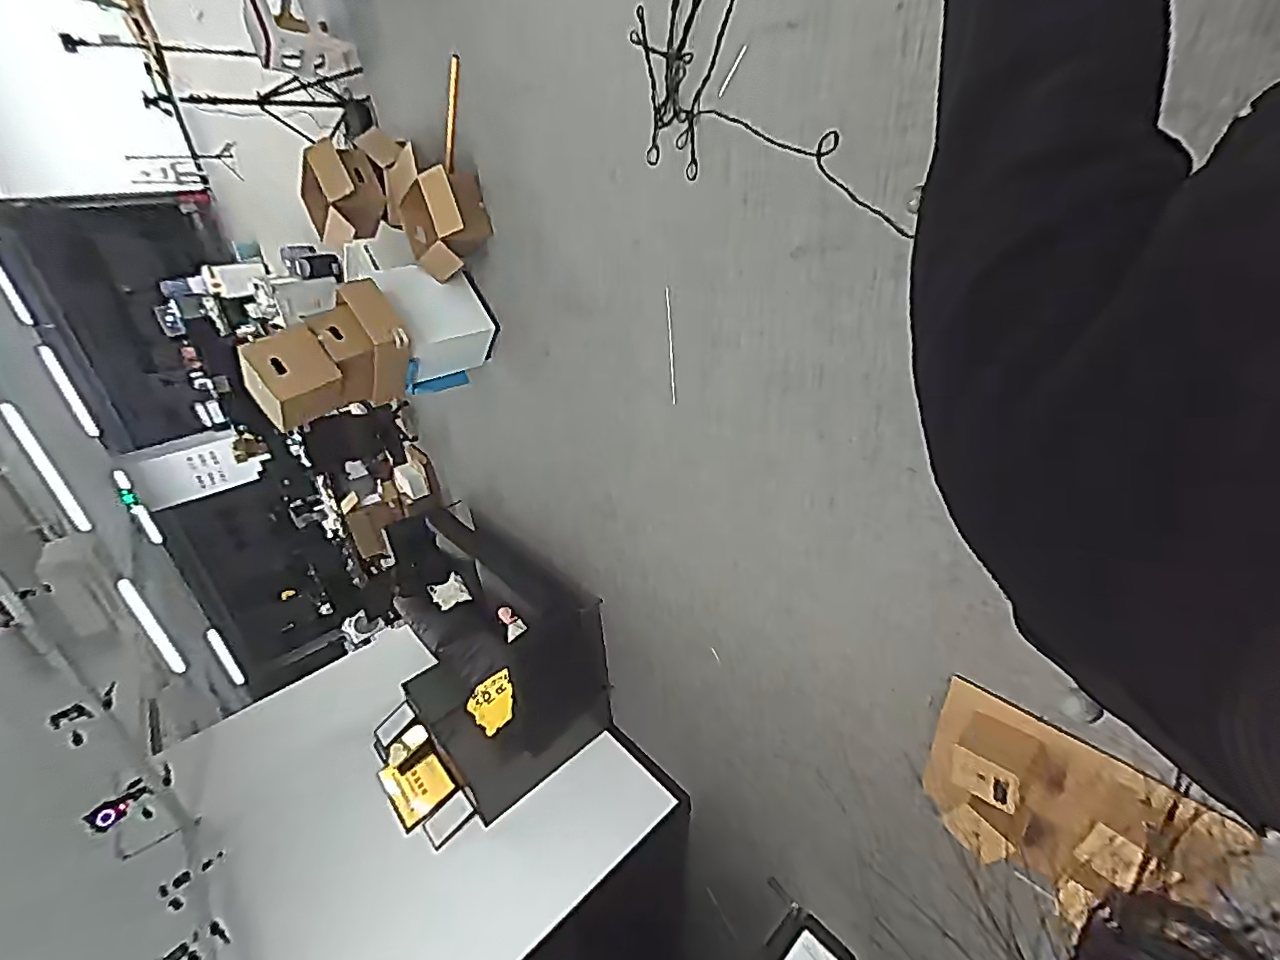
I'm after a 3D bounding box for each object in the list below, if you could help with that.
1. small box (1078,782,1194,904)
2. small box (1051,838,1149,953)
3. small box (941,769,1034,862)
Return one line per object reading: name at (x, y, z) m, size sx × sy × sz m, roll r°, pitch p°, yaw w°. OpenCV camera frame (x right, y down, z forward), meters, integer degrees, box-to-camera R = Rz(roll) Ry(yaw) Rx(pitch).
small box at (1.305, 0.946, 1.422) m, size 0.168 × 0.176 × 0.179 m, roll 31°, pitch 134°, yaw 40°
small box at (1.325, 1.178, 1.549) m, size 0.168 × 0.176 × 0.179 m, roll 27°, pitch 132°, yaw 42°
small box at (1.124, 1.081, 1.746) m, size 0.168 × 0.176 × 0.179 m, roll 41°, pitch 140°, yaw 29°
